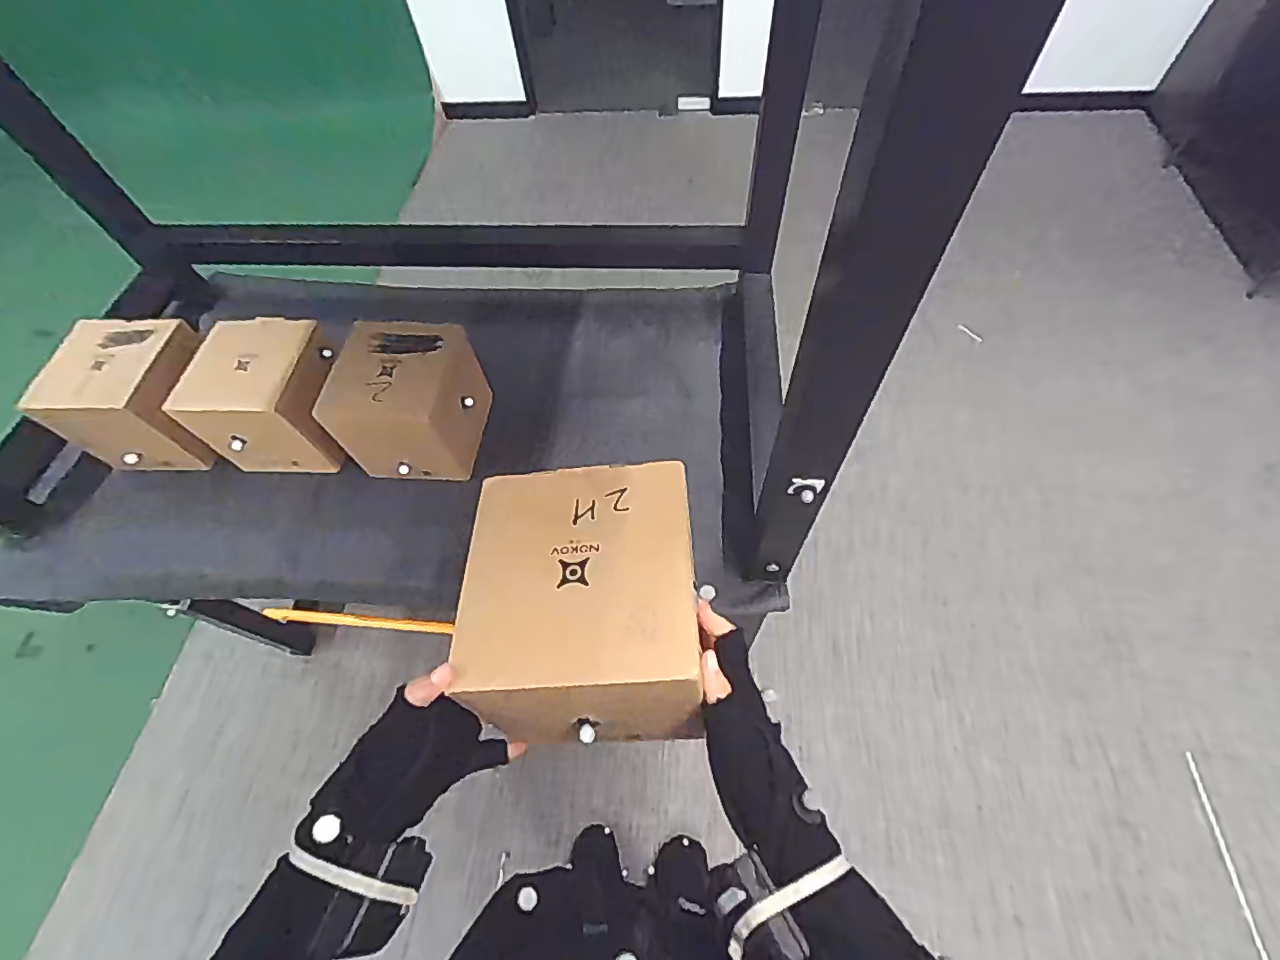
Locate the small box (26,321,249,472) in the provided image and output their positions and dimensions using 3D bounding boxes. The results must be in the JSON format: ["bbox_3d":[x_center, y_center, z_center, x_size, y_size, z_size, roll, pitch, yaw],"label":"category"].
[{"bbox_3d":[-0.780,-0.131,0.868,0.168,0.176,0.179,0,60,4],"label":"small box"}]

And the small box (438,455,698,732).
[{"bbox_3d":[-0.041,0.103,0.452,0.168,0.176,0.179,-5,53,5],"label":"small box"}]
